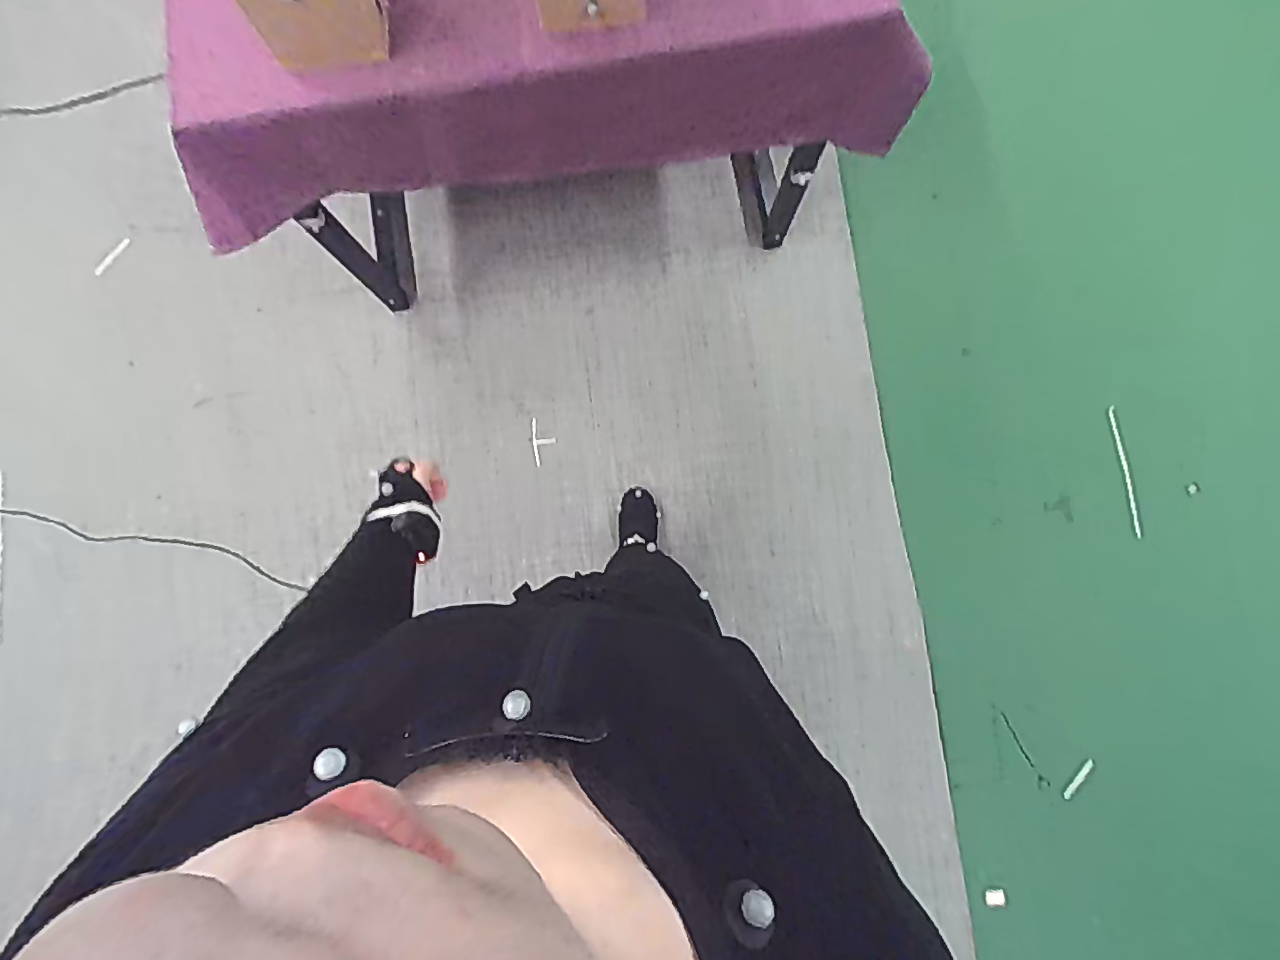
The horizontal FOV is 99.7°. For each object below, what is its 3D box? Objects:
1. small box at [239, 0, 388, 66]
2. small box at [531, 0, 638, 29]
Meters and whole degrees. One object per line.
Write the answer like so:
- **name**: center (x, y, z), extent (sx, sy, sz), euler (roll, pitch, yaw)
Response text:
- **small box**: center (-0.507, -0.767, 0.814), extent (0.179, 0.176, 0.168), euler (-6, 83, -1)
- **small box**: center (-0.092, -0.838, 0.822), extent (0.179, 0.176, 0.168), euler (-7, 82, -1)
